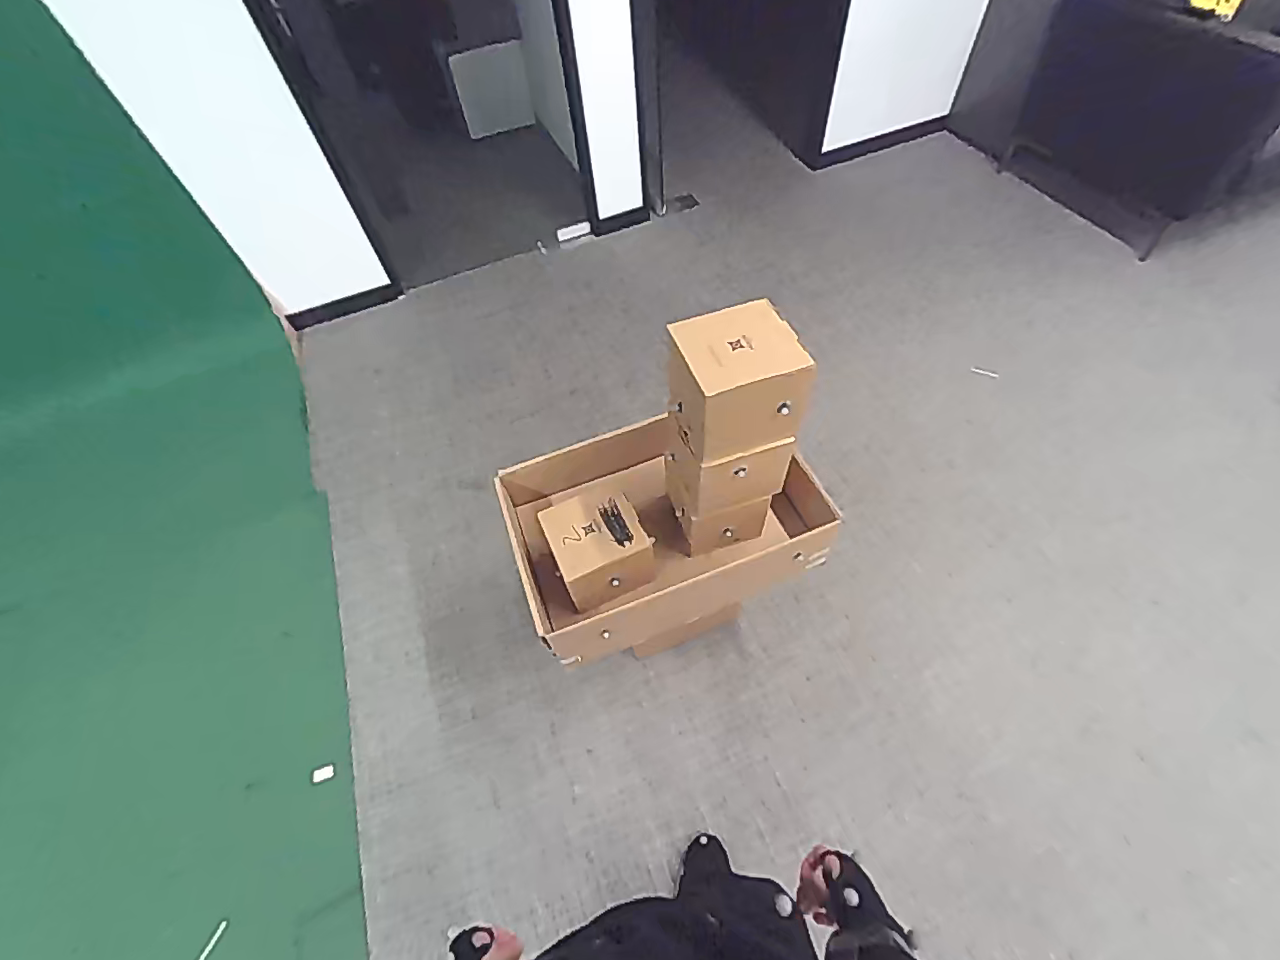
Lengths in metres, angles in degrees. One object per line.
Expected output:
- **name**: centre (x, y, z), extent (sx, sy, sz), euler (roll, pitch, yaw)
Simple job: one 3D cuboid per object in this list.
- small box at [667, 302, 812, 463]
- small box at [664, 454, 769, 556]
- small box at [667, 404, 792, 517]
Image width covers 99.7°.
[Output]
- **small box**: centre (0.151, -0.155, 0.883), extent (0.179, 0.176, 0.168), euler (-17, 55, -7)
- **small box**: centre (0.157, 0.042, 1.144), extent (0.168, 0.176, 0.179), euler (-16, 55, -6)
- **small box**: centre (0.160, -0.054, 1.010), extent (0.179, 0.176, 0.168), euler (-17, 56, -7)
